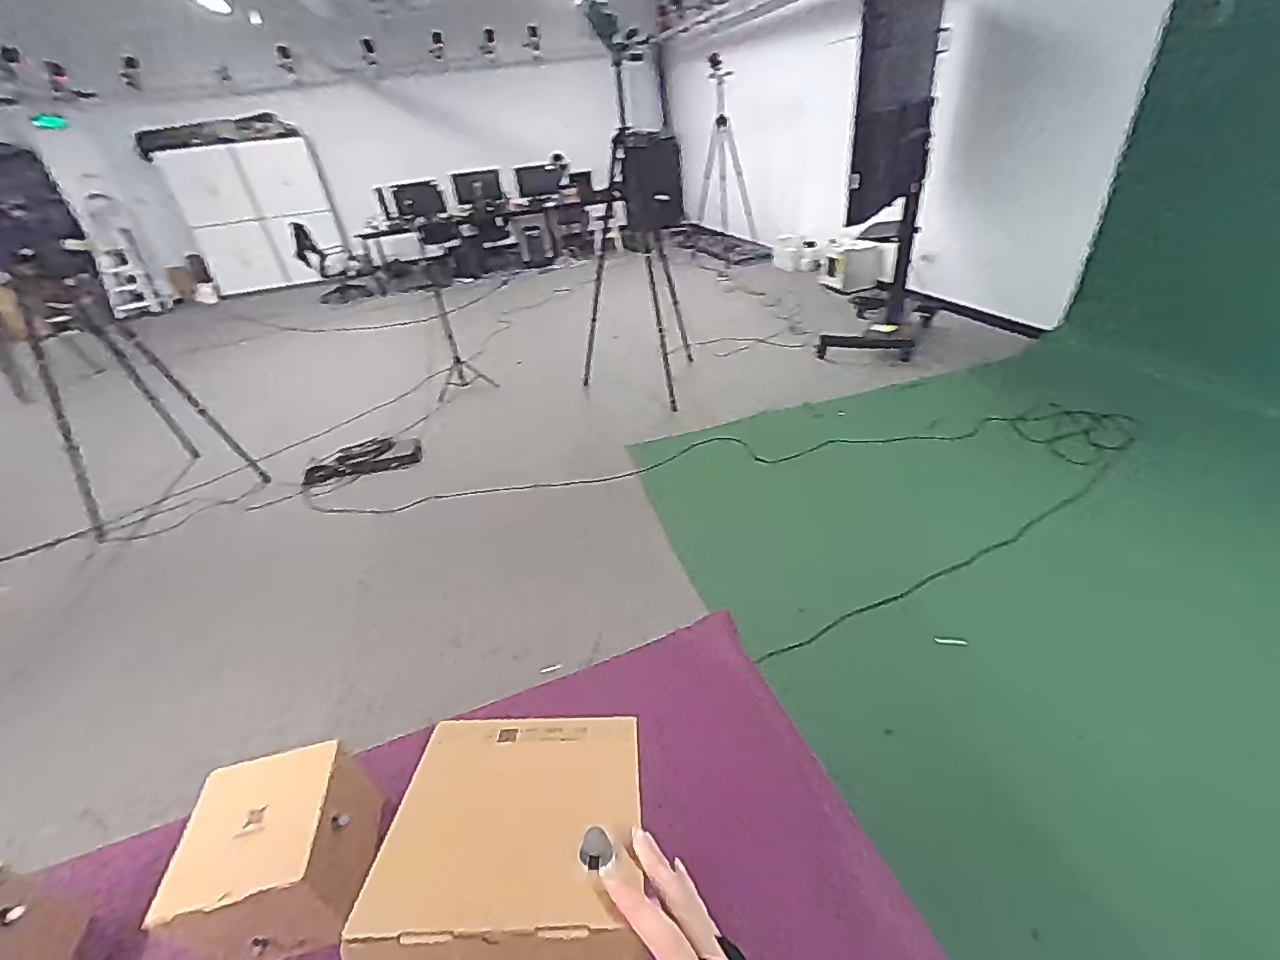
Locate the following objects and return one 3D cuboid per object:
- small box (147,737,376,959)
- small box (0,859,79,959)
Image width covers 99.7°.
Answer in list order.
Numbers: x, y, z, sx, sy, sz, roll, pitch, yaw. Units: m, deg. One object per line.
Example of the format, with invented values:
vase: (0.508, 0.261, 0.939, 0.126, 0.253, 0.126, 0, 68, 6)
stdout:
small box: (-0.467, 0.480, 0.708, 0.168, 0.176, 0.179, -12, 35, -7)
small box: (-0.806, 0.584, 0.608, 0.168, 0.176, 0.179, -16, 35, -13)
